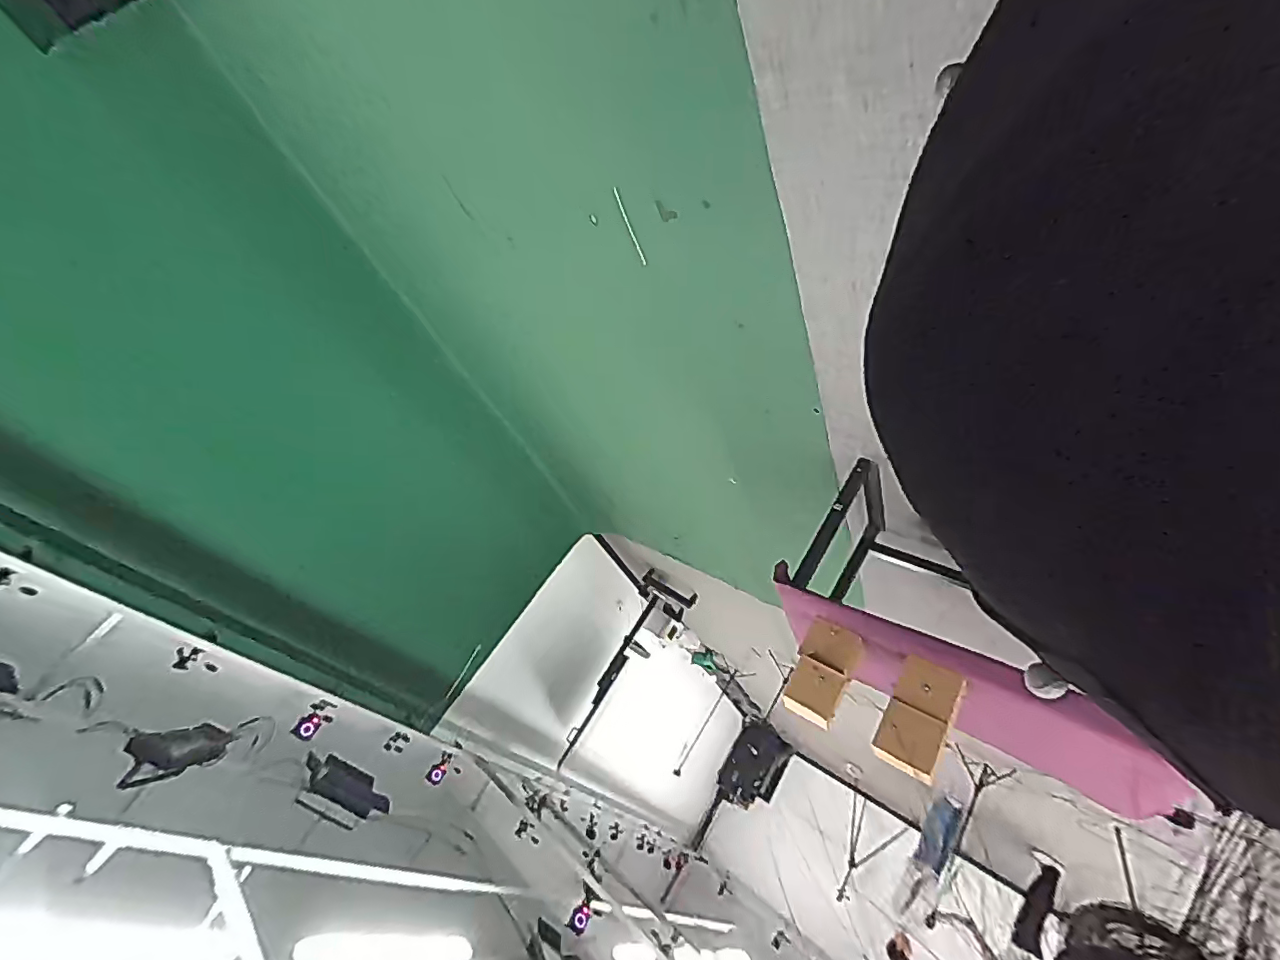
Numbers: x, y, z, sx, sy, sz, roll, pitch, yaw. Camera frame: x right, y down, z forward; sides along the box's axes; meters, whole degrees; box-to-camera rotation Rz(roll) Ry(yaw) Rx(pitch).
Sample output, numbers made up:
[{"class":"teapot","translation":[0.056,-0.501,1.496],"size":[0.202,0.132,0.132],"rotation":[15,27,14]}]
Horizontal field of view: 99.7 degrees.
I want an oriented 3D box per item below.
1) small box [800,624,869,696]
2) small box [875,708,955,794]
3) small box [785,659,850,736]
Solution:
[{"class":"small box","translation":[0.723,0.657,2.002],"size":[0.179,0.176,0.168],"rotation":[19,154,39]},{"class":"small box","translation":[0.862,0.841,1.698],"size":[0.179,0.176,0.168],"rotation":[19,154,39]},{"class":"small box","translation":[0.634,0.771,1.922],"size":[0.168,0.176,0.179],"rotation":[23,154,32]}]
